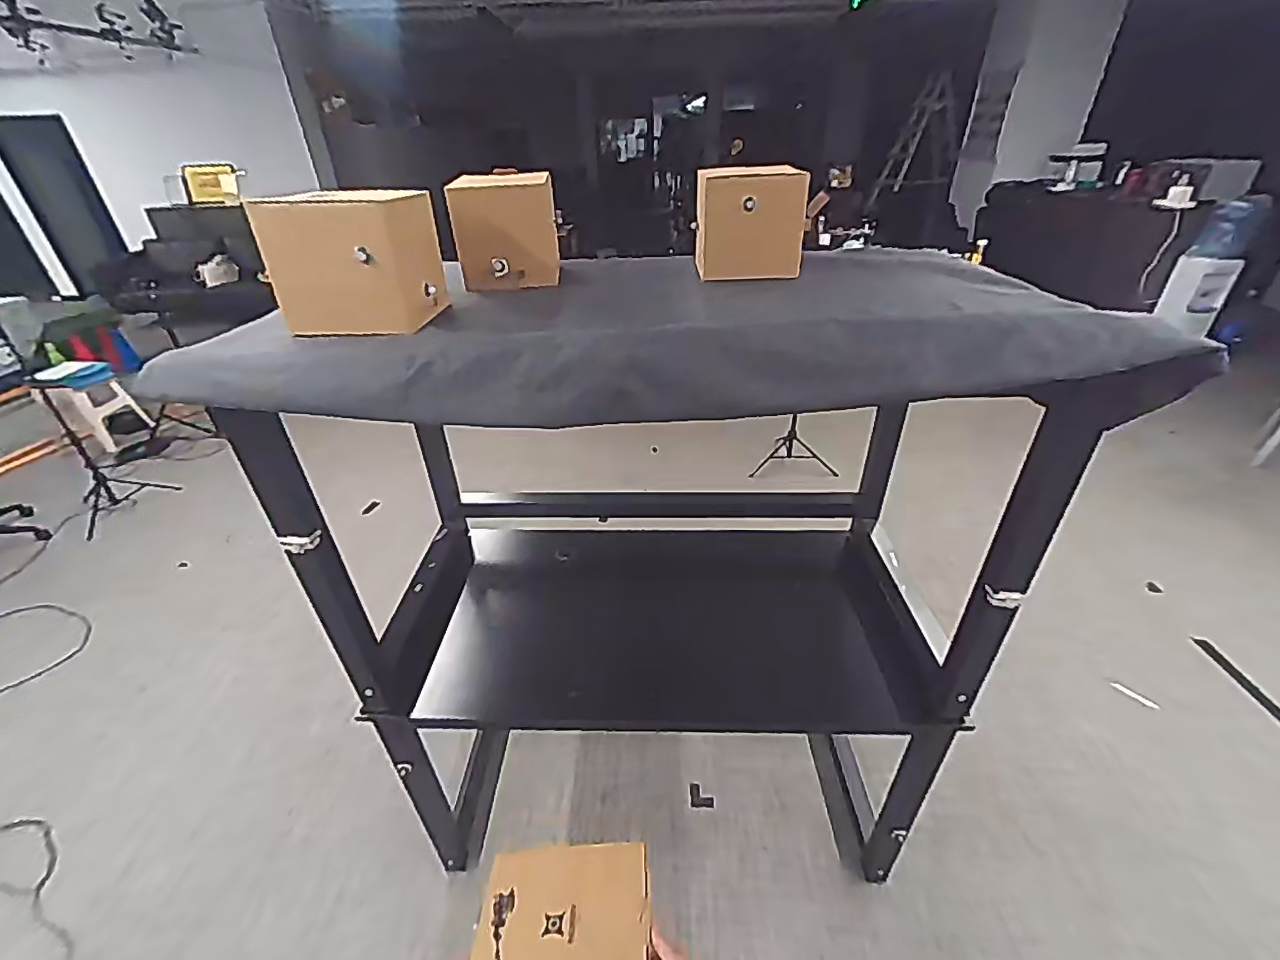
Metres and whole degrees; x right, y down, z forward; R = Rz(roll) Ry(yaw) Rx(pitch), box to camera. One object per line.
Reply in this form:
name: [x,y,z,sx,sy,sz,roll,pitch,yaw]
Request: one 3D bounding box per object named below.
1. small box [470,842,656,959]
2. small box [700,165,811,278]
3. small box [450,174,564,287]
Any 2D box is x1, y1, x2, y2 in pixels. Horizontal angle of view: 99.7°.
small box: [-0.072,0.521,0.568,0.179,0.176,0.168,-3,17,1]
small box: [0.201,-0.475,0.993,0.179,0.176,0.168,0,34,2]
small box: [-0.232,-0.459,0.992,0.168,0.176,0.179,-5,33,-3]
